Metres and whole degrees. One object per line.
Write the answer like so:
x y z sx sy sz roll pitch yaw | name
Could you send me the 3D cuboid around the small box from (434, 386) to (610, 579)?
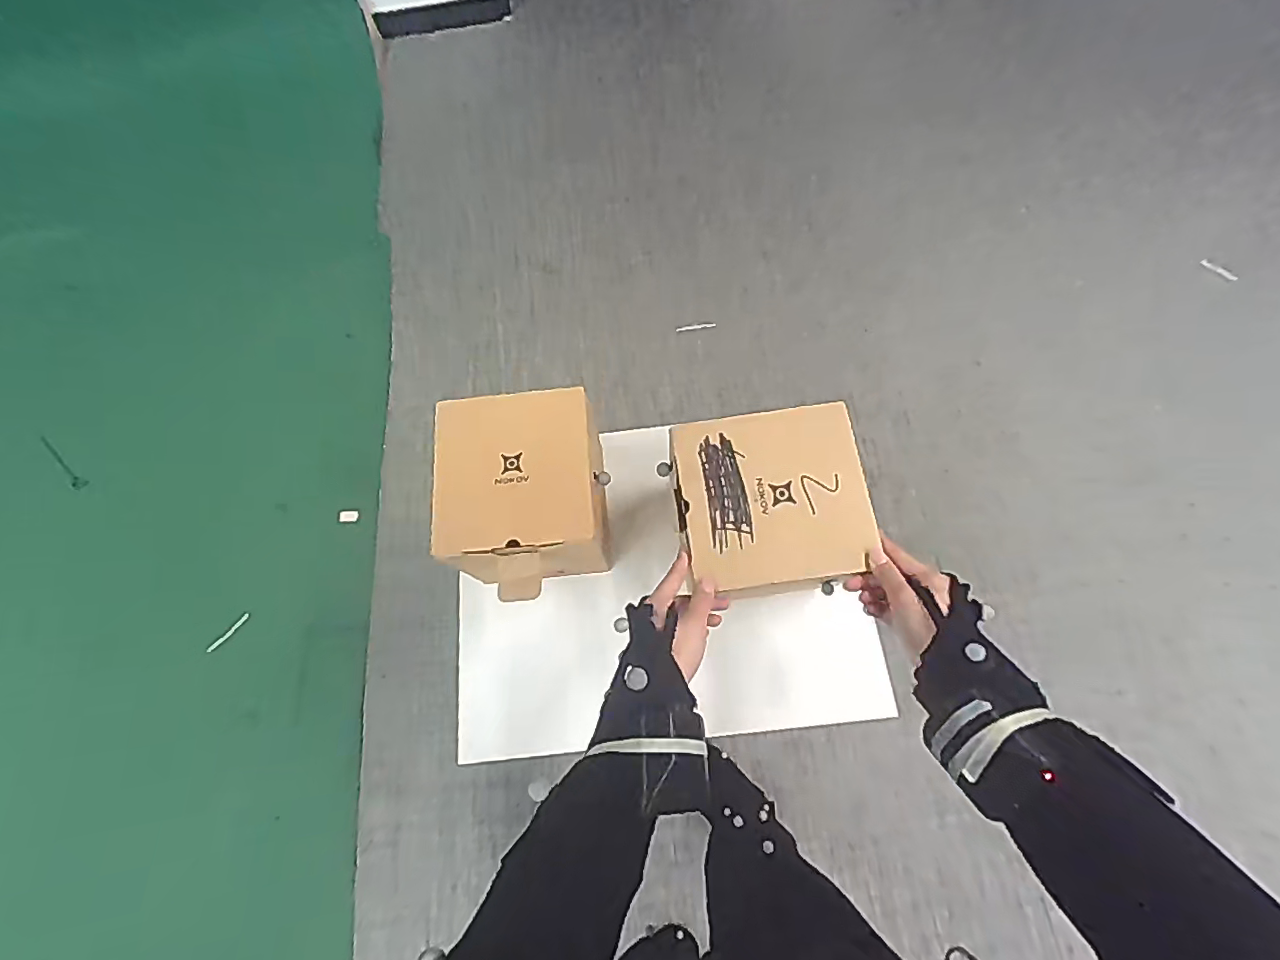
-0.127 0.012 0.636 0.168 0.176 0.179 -6 72 0 | small box
